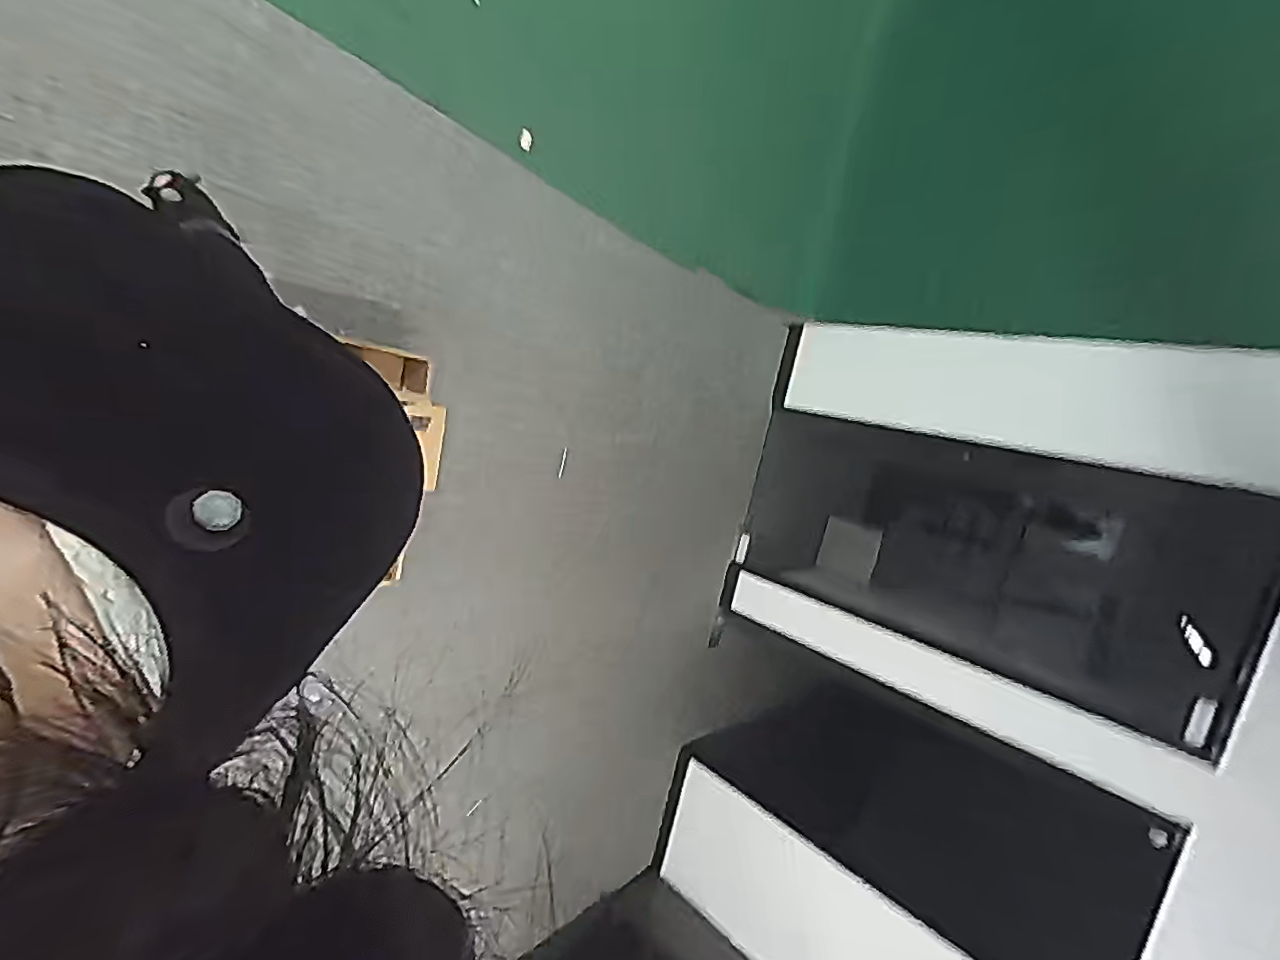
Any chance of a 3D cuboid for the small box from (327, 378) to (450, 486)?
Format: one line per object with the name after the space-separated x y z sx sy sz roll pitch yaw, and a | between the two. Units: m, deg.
-0.501 -0.097 1.069 0.168 0.176 0.179 3 105 -45 | small box
